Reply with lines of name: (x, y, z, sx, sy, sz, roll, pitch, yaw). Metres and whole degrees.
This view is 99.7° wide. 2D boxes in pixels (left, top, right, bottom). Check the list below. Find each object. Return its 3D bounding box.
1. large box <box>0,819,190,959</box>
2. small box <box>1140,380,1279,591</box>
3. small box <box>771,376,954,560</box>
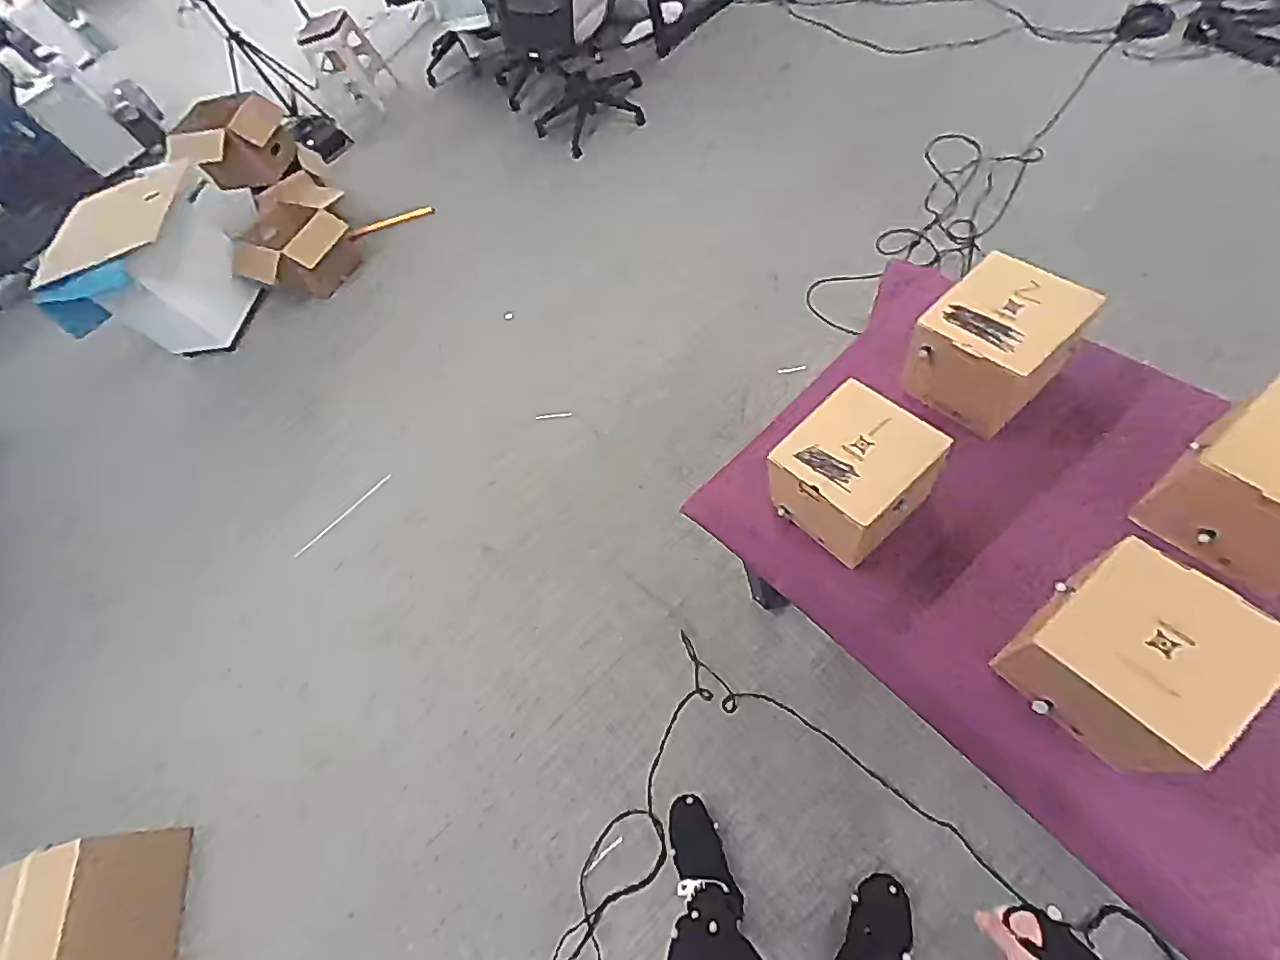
large box: (-1.512, 1.203, 1.464, 0.320, 0.320, 0.408, -21, 60, 5)
small box: (0.778, 0.005, 0.658, 0.179, 0.176, 0.168, -42, 60, -7)
small box: (0.317, -0.010, 0.798, 0.179, 0.176, 0.168, -41, 60, -9)
